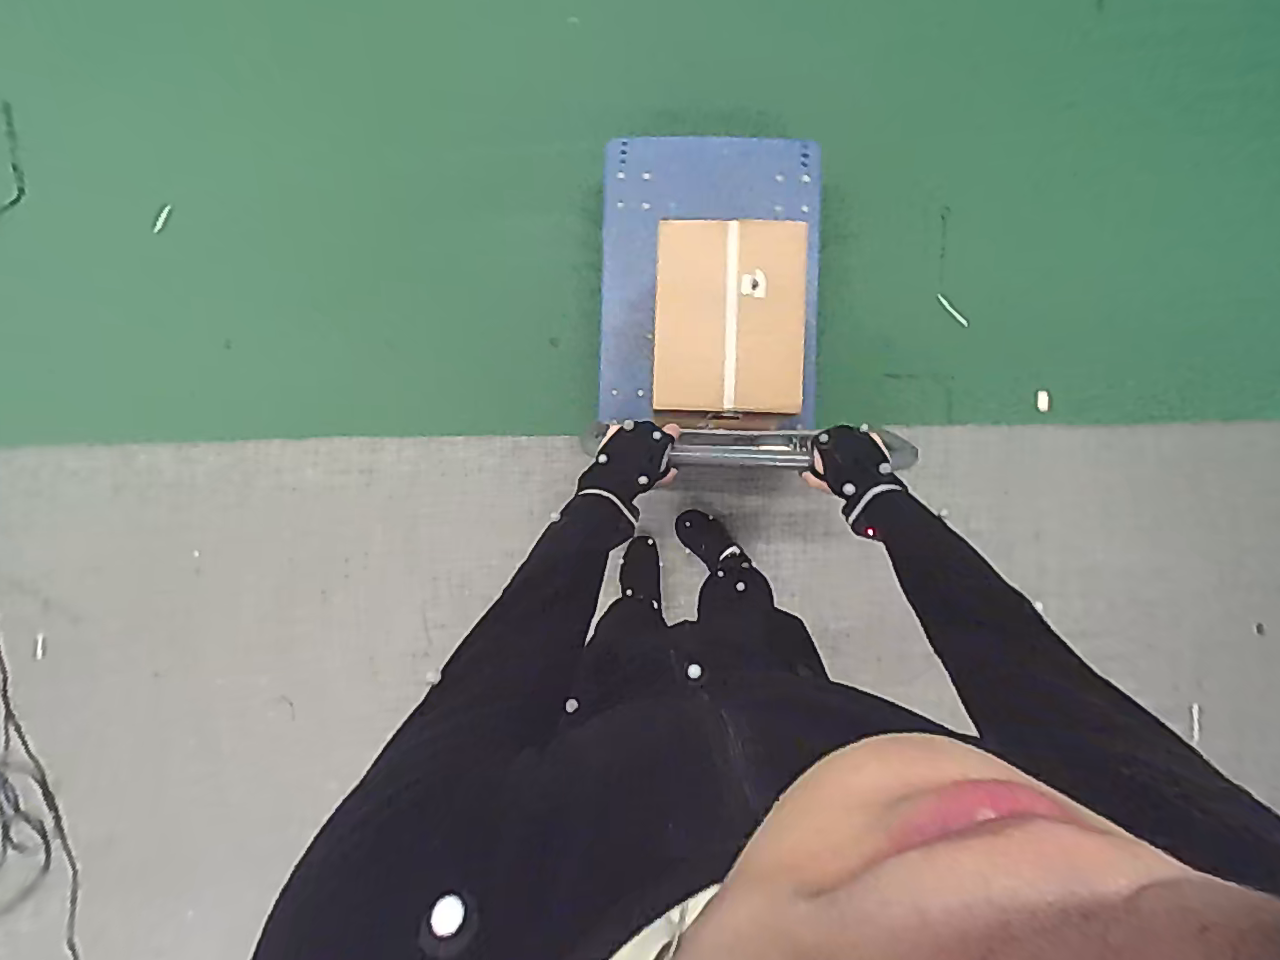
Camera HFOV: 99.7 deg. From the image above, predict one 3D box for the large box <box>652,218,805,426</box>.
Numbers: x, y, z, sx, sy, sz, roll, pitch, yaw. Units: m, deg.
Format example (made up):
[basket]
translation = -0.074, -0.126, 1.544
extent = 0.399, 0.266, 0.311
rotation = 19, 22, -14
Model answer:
[large box]
translation = 0.191, -0.345, 1.280
extent = 0.320, 0.320, 0.408
rotation = 3, 89, 1
